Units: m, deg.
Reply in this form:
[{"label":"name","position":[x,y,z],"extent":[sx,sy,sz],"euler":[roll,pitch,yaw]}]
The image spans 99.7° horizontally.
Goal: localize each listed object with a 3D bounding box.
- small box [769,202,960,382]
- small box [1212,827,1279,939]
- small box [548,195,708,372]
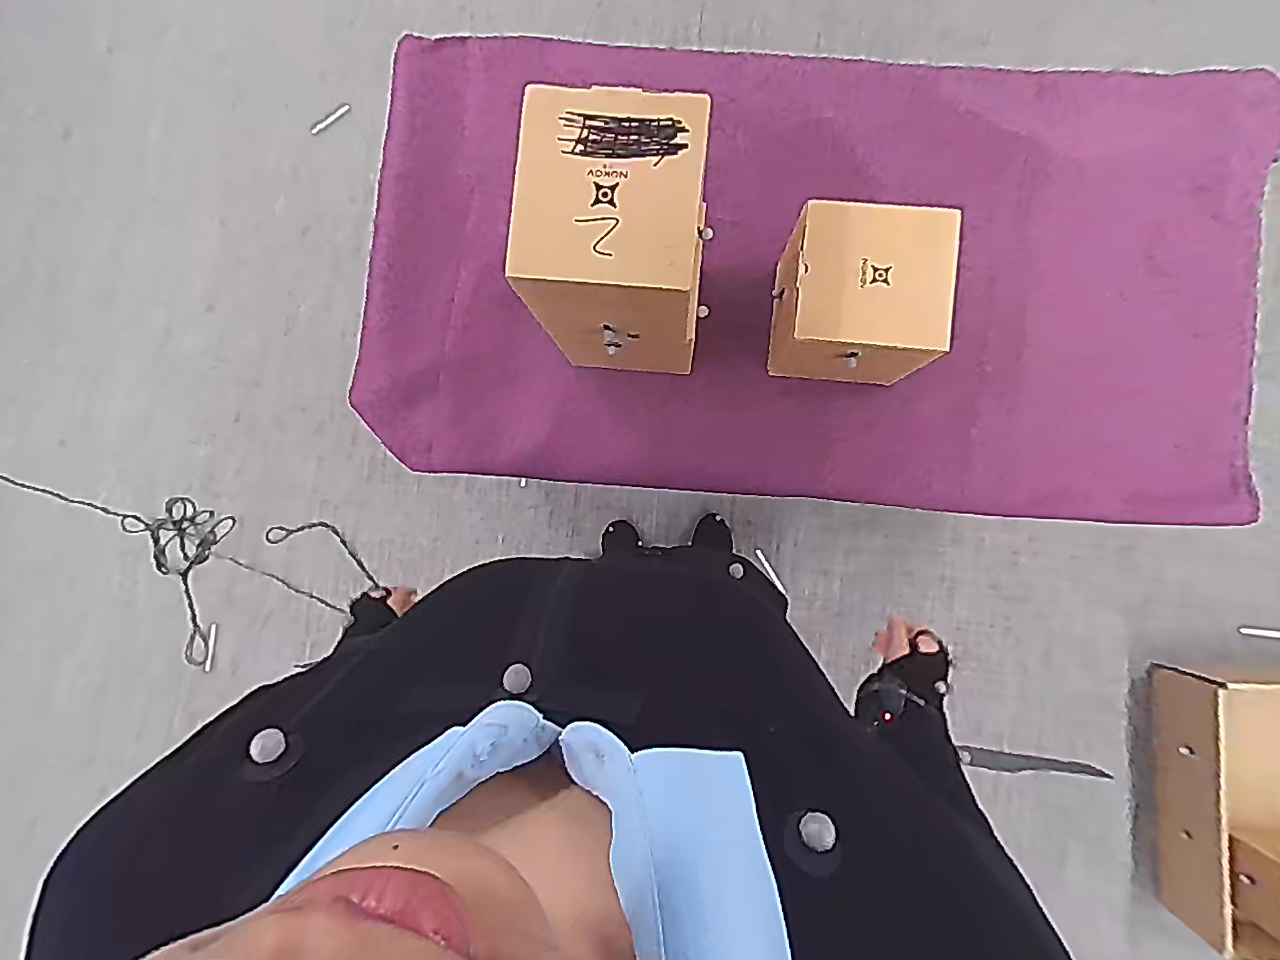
[{"label":"small box","position":[0.275,-0.228,0.696],"extent":[0.179,0.176,0.168],"euler":[6,88,5]},{"label":"small box","position":[1.476,0.926,1.237],"extent":[0.179,0.176,0.168],"euler":[2,88,3]},{"label":"small box","position":[-0.010,-0.247,0.714],"extent":[0.179,0.176,0.168],"euler":[5,88,3]}]
